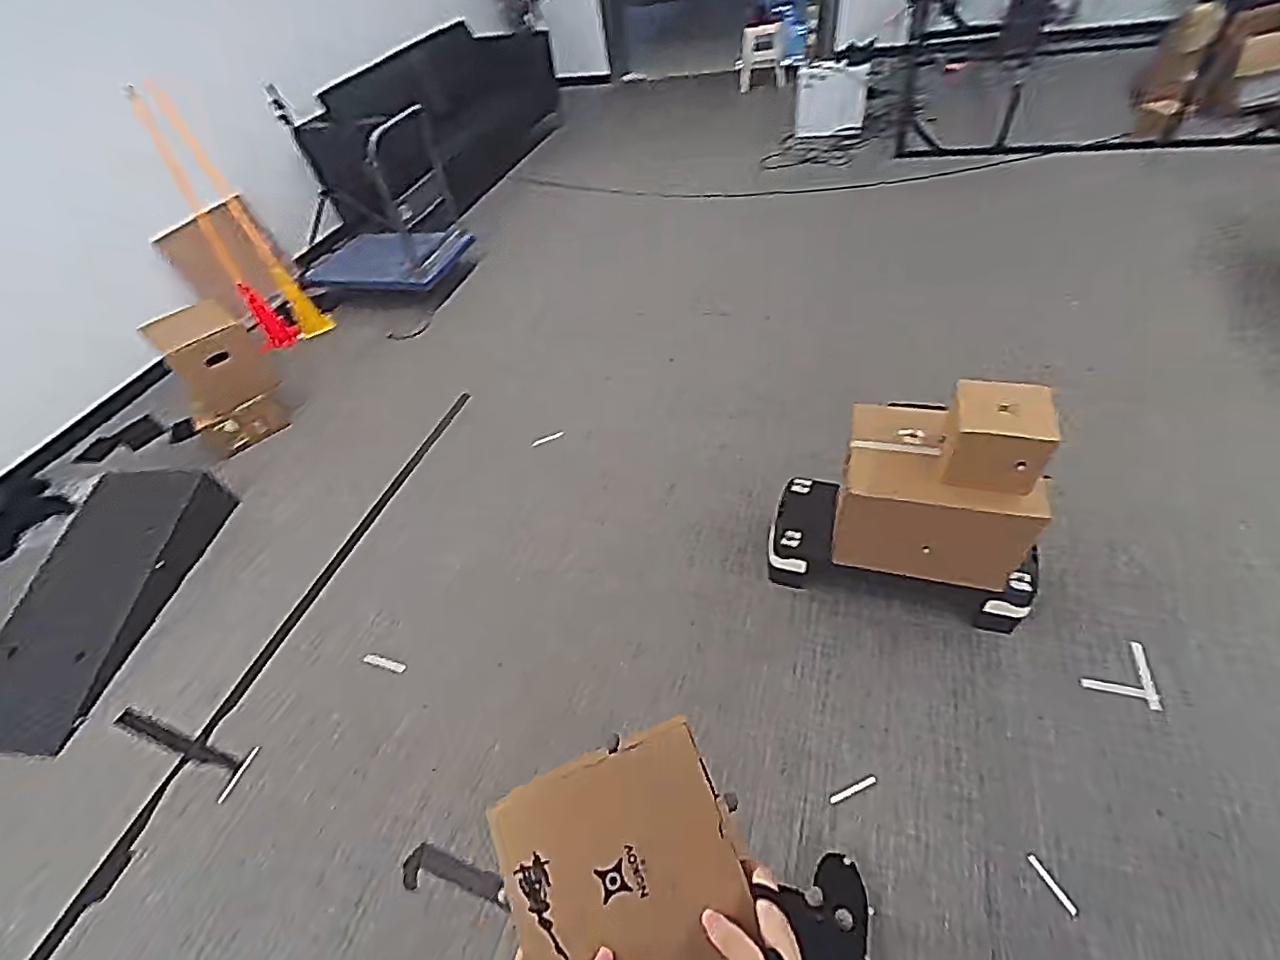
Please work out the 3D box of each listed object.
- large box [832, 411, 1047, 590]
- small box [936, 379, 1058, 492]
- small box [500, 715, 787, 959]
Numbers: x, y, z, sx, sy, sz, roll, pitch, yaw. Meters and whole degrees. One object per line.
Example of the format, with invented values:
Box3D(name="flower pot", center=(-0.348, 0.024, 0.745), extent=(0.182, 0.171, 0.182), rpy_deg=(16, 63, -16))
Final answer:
Box3D(name="large box", center=(0.723, 0.049, 1.377), extent=(0.408, 0.320, 0.320), rpy_deg=(7, 50, 18))
Box3D(name="small box", center=(0.757, -0.093, 1.164), extent=(0.179, 0.176, 0.168), rpy_deg=(9, 52, 19))
Box3D(name="small box", center=(0.000, 0.320, 0.478), extent=(0.179, 0.176, 0.168), rpy_deg=(-21, 67, -6))
